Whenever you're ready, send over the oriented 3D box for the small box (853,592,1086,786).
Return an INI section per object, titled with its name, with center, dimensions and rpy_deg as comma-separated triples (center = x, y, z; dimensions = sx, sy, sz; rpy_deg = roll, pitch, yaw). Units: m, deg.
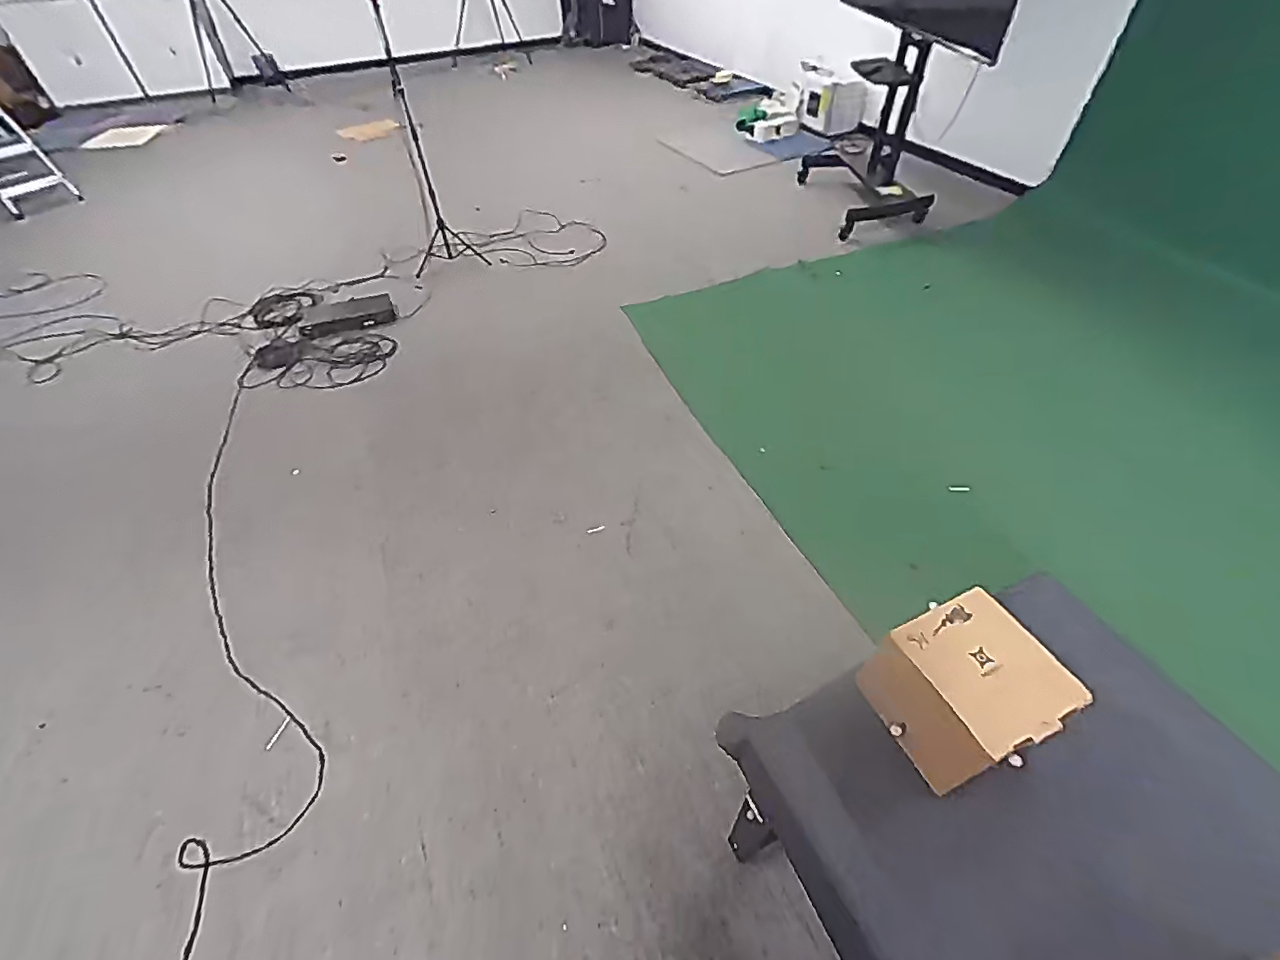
[small box]
center = 0.429, 0.291, 0.738
dimensions = 0.168, 0.176, 0.179
rpy_deg = -18, 51, -17
